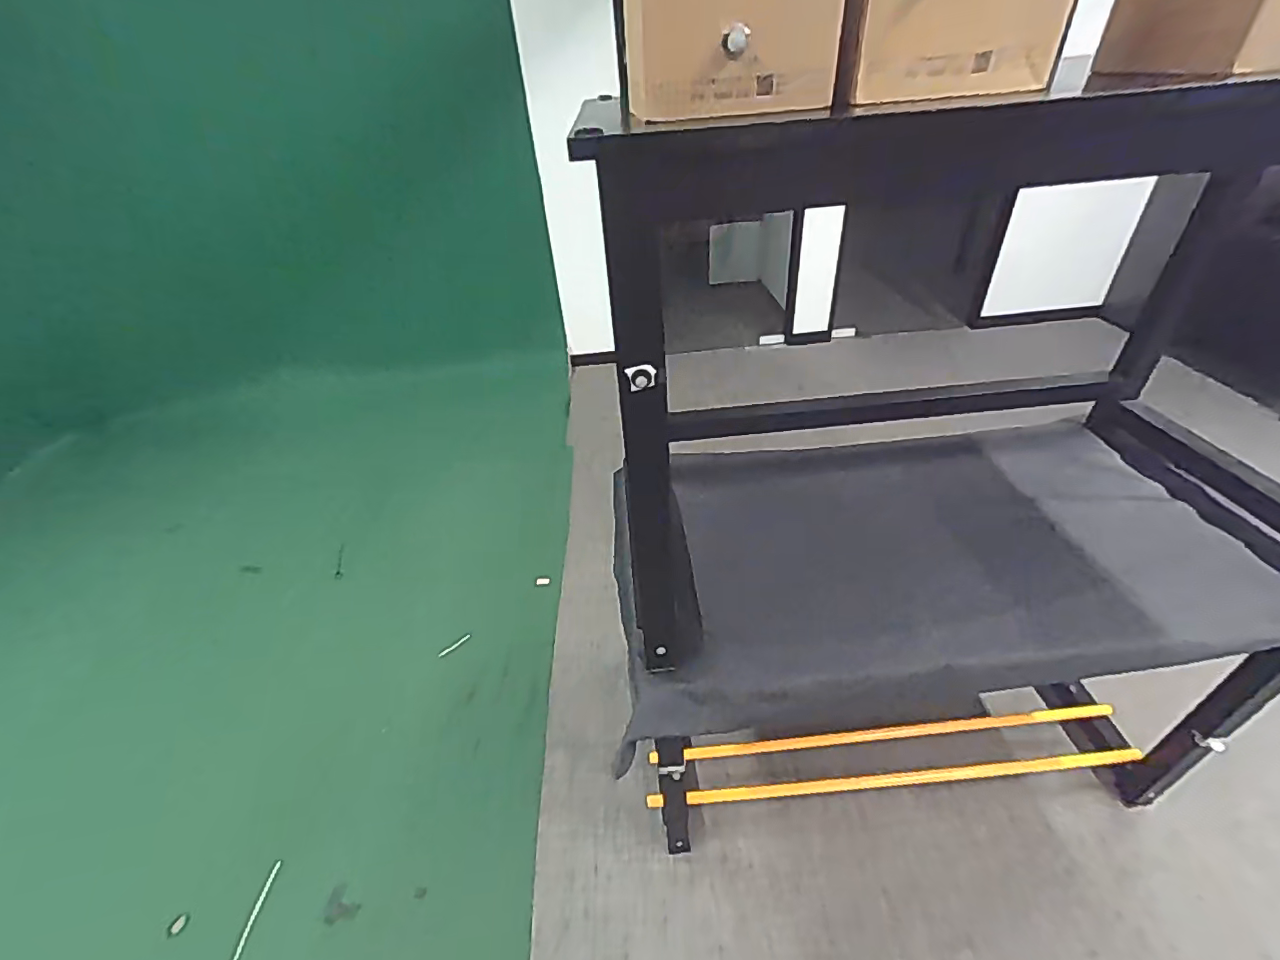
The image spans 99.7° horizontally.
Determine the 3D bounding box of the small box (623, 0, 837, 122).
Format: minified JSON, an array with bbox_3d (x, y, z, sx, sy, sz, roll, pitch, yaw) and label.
[{"bbox_3d":[0.070,-0.432,0.490,0.168,0.176,0.179,-6,38,-2],"label":"small box"}]
